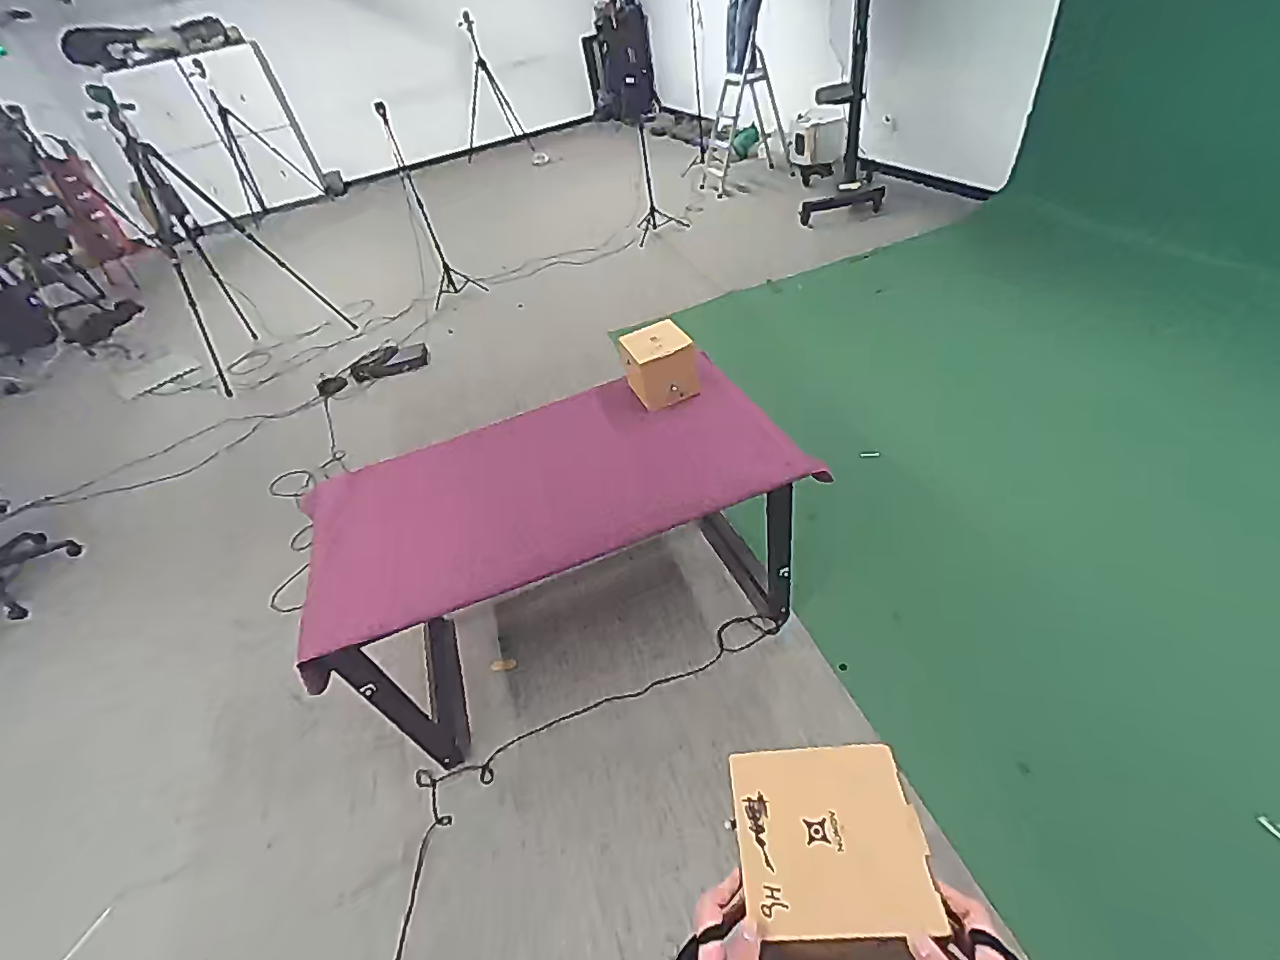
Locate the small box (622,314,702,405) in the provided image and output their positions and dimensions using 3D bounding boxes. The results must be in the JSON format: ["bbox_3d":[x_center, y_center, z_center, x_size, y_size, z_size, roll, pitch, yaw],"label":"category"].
[{"bbox_3d":[0.065,-0.347,1.566,0.168,0.176,0.179,-24,45,-6],"label":"small box"}]

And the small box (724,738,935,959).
[{"bbox_3d":[0.190,0.405,0.594,0.179,0.176,0.168,-7,38,8],"label":"small box"}]
